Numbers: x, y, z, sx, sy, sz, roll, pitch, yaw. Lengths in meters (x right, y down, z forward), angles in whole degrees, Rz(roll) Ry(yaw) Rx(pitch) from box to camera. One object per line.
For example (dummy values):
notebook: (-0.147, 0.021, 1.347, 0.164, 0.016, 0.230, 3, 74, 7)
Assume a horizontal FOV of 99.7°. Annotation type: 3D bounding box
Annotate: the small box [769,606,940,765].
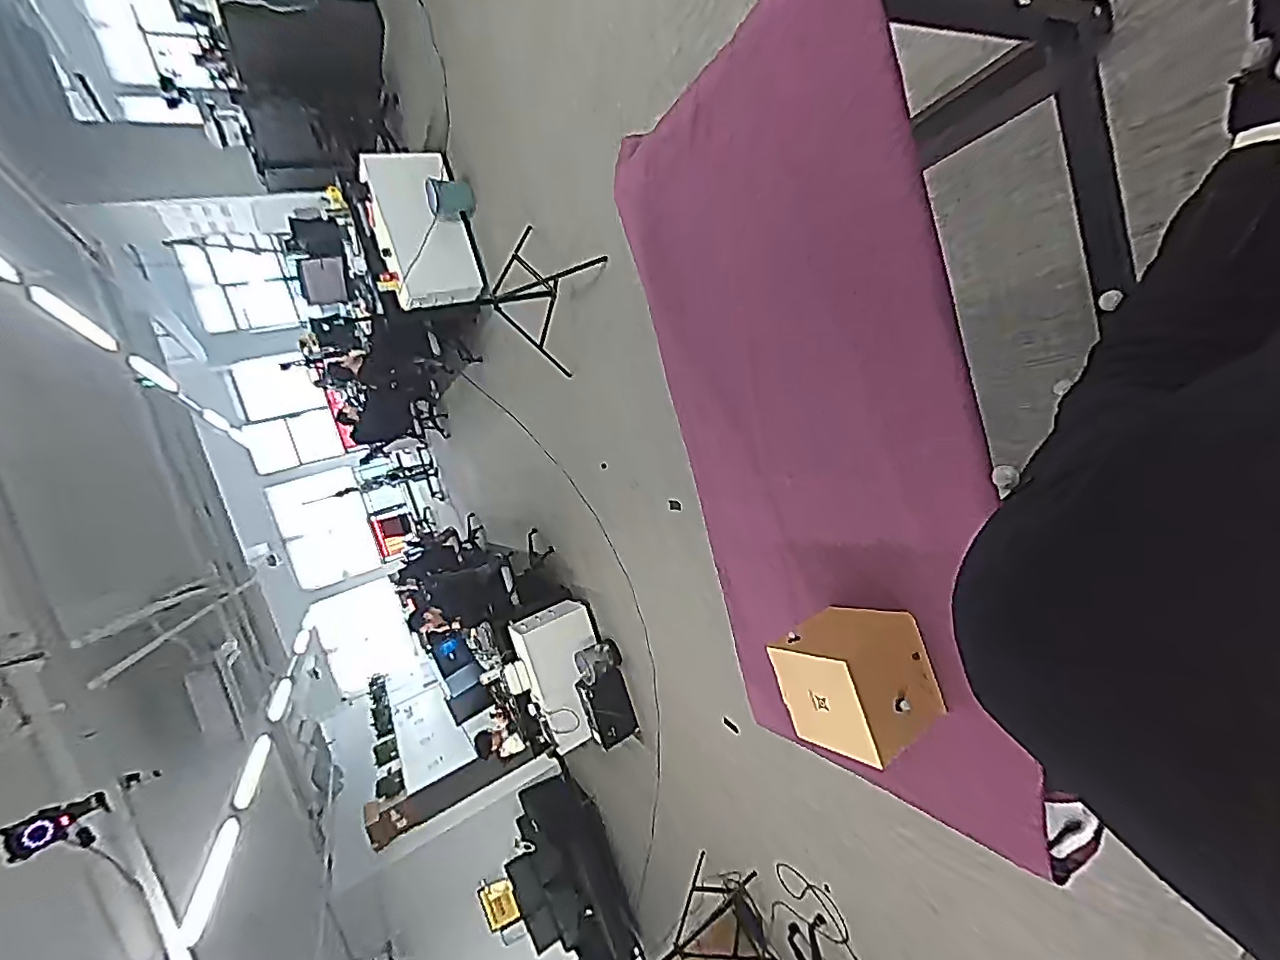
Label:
small box: (0.347, 0.313, 0.867, 0.179, 0.176, 0.168, -20, 90, 63)
